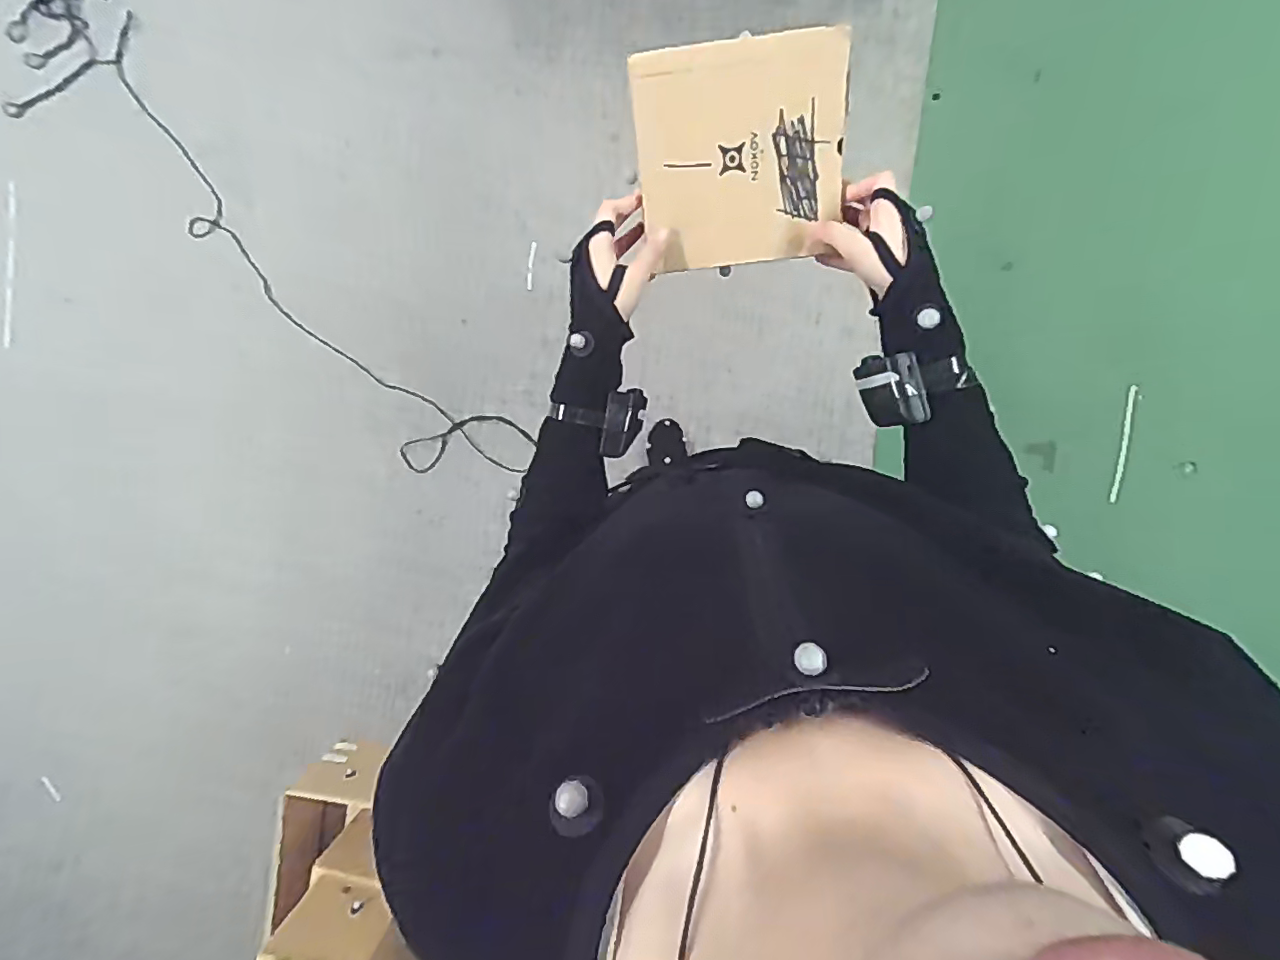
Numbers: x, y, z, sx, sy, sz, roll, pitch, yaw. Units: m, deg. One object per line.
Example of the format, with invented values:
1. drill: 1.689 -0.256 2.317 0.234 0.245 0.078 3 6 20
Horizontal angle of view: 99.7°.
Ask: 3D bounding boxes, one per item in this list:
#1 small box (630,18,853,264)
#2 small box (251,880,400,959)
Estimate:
1. small box: 0.084 -0.307 0.521 0.179 0.176 0.168 -4 114 3
2. small box: -0.521 0.819 0.890 0.168 0.176 0.179 11 92 2
